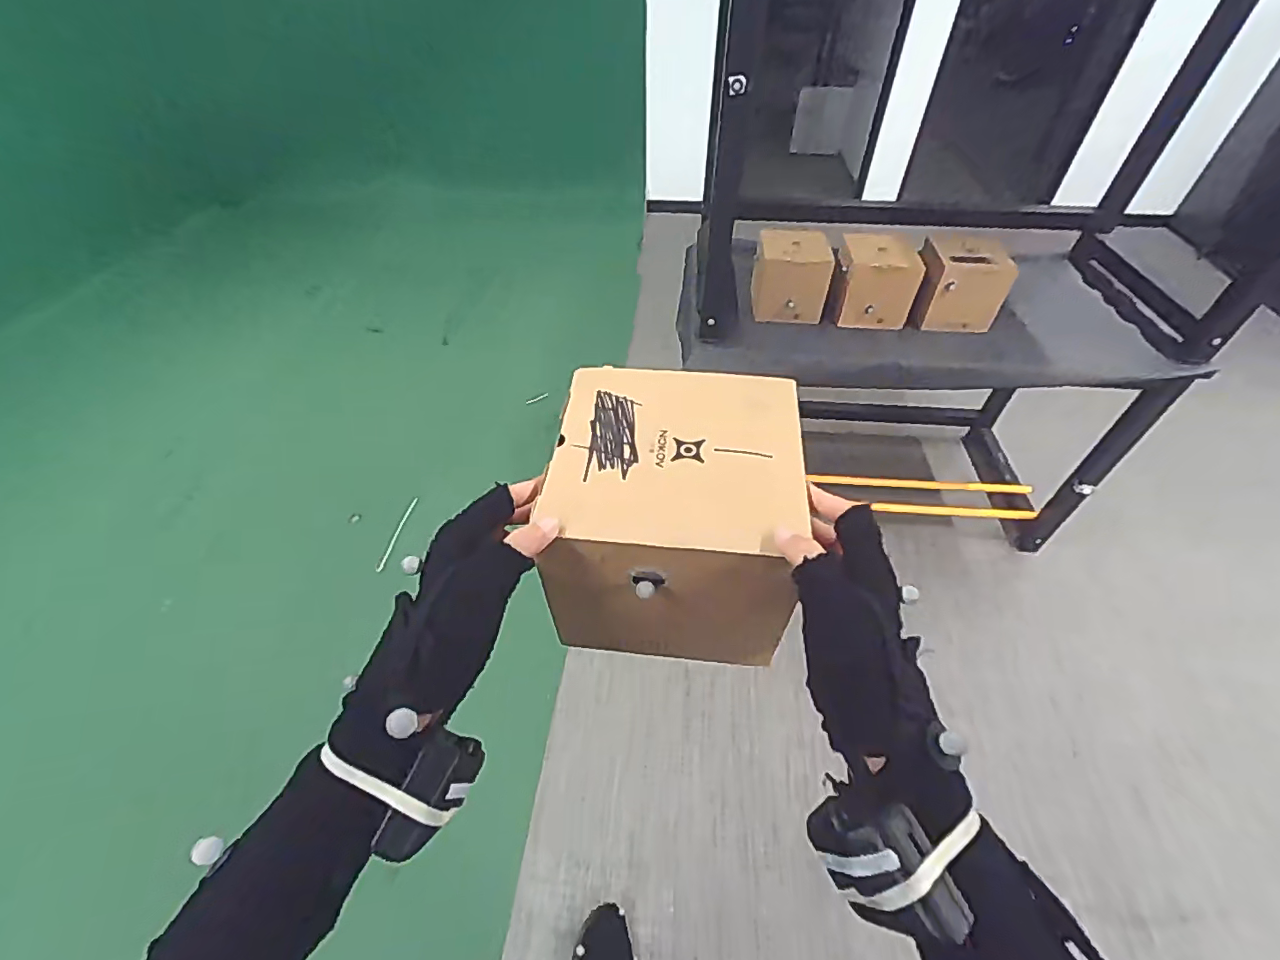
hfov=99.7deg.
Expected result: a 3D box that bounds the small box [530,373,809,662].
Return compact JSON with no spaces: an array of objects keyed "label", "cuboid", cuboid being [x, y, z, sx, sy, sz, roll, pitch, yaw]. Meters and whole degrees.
[{"label":"small box","cuboid":[0.027,0.033,0.441,0.179,0.176,0.168,5,50,5]}]

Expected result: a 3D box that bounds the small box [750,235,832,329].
[{"label":"small box","cuboid":[0.381,-0.512,1.400,0.168,0.176,0.179,3,46,3]}]

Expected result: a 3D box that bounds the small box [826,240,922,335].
[{"label":"small box","cuboid":[0.587,-0.494,1.386,0.168,0.176,0.179,3,46,3]}]
